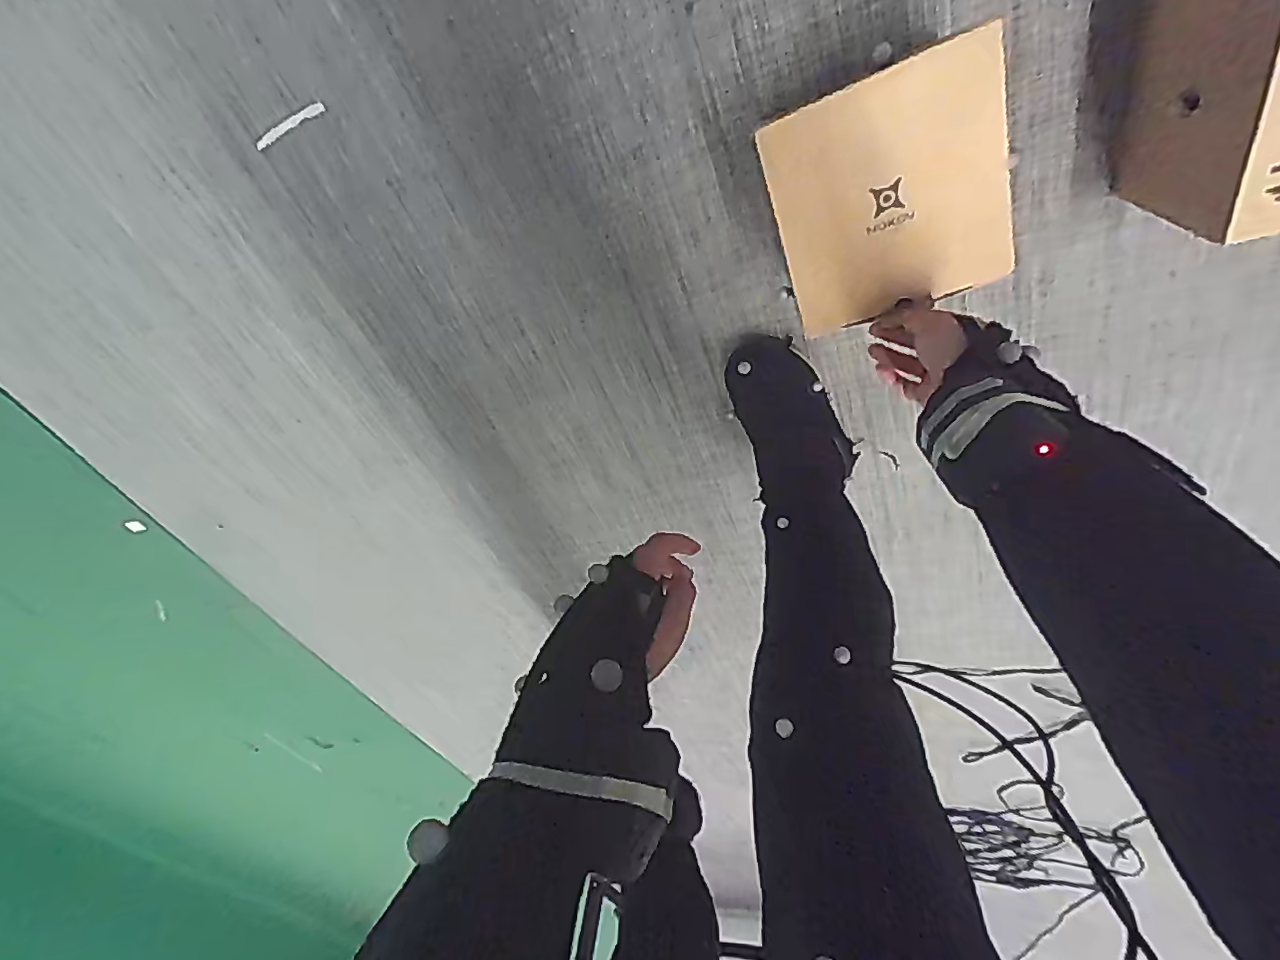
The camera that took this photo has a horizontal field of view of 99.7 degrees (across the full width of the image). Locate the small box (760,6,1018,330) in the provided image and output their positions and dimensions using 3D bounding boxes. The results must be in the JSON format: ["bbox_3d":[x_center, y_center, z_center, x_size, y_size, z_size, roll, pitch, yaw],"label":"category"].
[{"bbox_3d":[0.206,-0.264,0.478,0.168,0.176,0.179,-14,122,21],"label":"small box"}]
